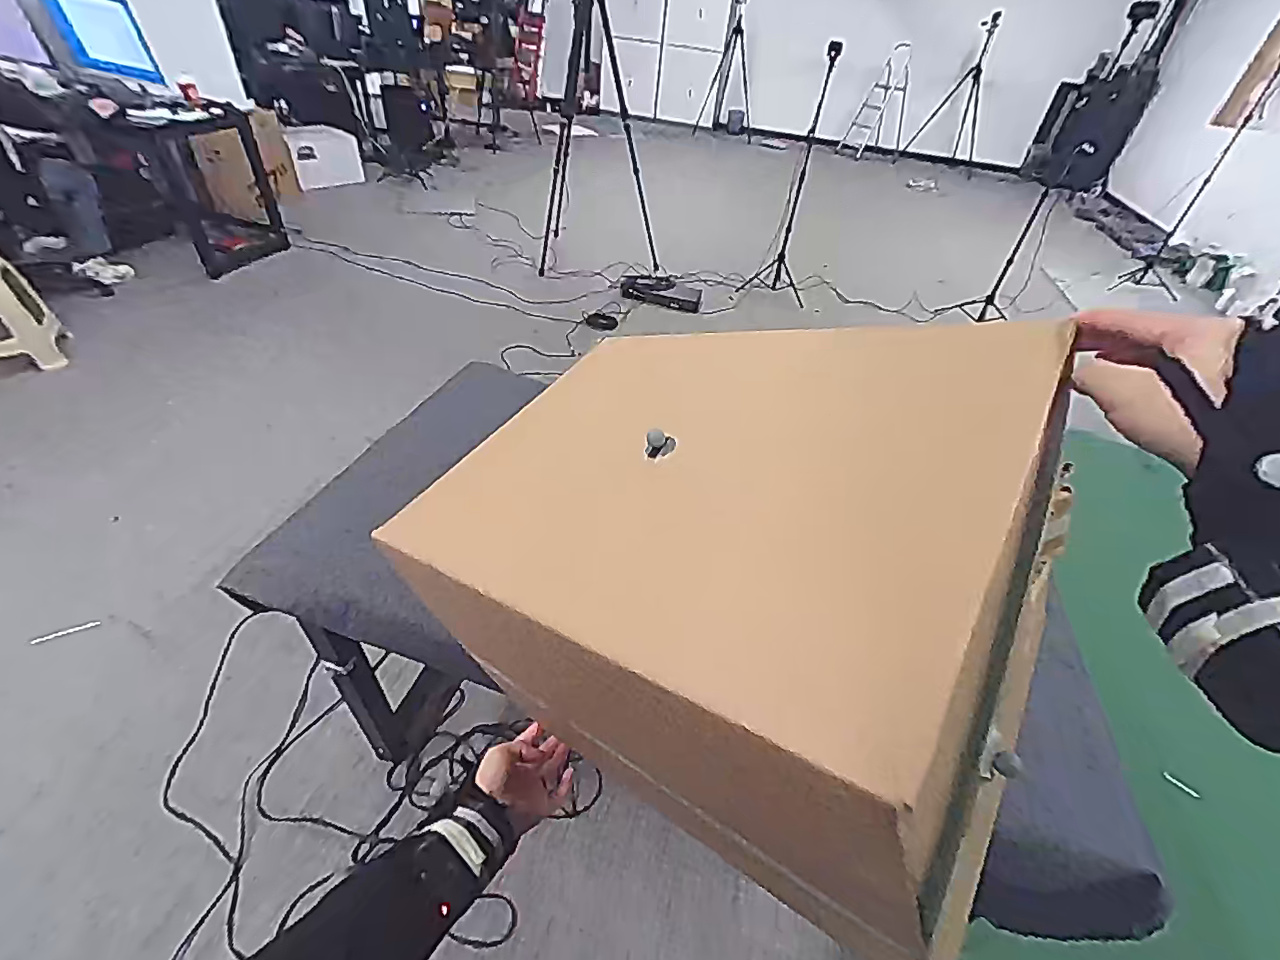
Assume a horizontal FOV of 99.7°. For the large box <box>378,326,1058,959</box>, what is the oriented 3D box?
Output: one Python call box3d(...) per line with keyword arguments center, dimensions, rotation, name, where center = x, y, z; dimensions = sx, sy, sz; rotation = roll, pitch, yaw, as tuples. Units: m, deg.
box3d(center=(0.073, 0.089, 0.462), dimensions=(0.408, 0.320, 0.320), rotation=(10, 48, 39), name="large box")
